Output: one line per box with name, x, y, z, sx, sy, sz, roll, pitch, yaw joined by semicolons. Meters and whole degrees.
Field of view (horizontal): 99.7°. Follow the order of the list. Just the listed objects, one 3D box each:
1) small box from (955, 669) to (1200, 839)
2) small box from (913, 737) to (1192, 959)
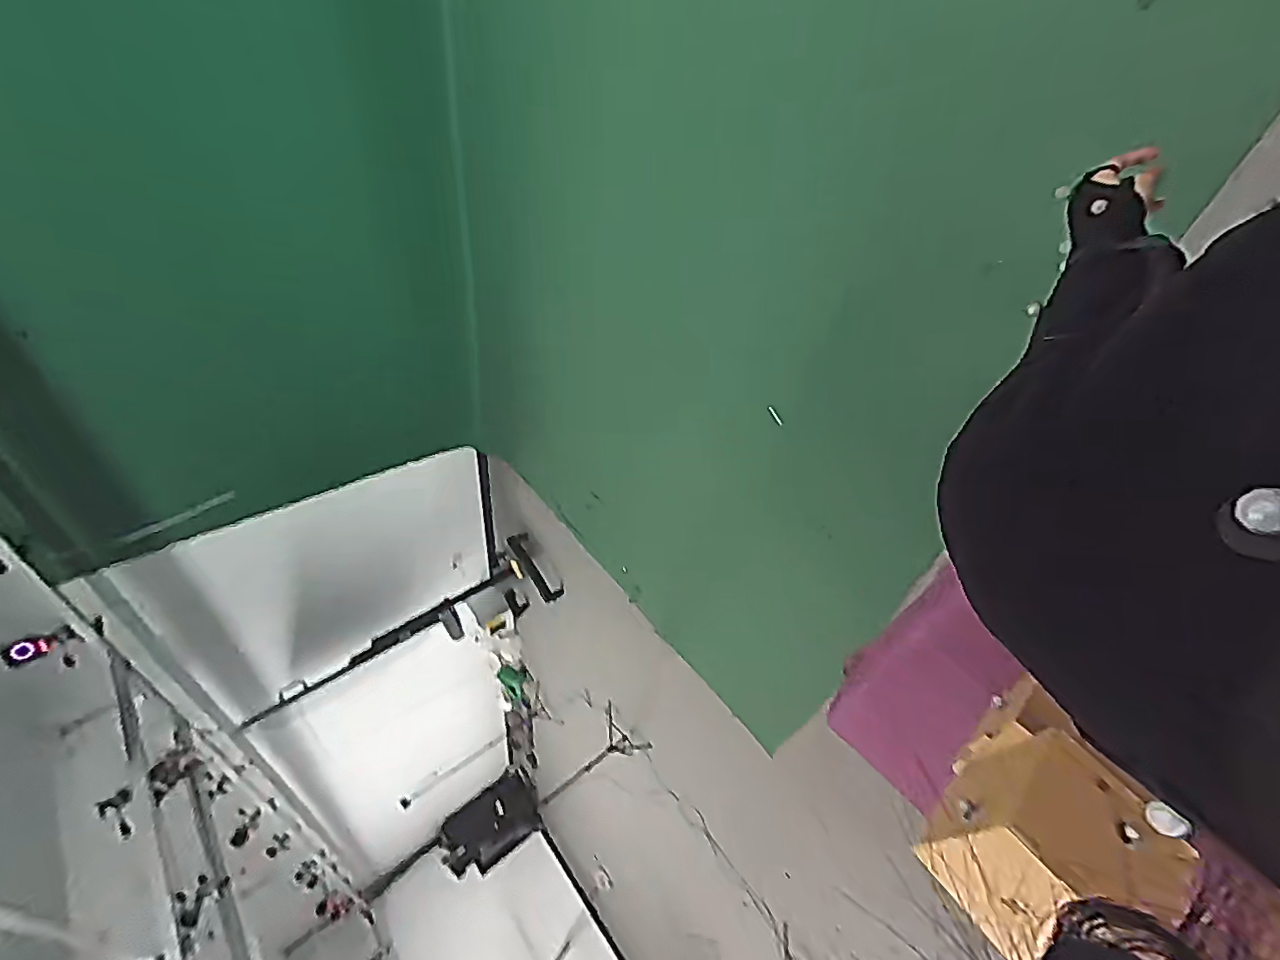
small box;0.583;0.385;0.732;0.179;0.176;0.168;43;142;31
small box;0.469;0.437;0.624;0.168;0.176;0.179;48;143;25
